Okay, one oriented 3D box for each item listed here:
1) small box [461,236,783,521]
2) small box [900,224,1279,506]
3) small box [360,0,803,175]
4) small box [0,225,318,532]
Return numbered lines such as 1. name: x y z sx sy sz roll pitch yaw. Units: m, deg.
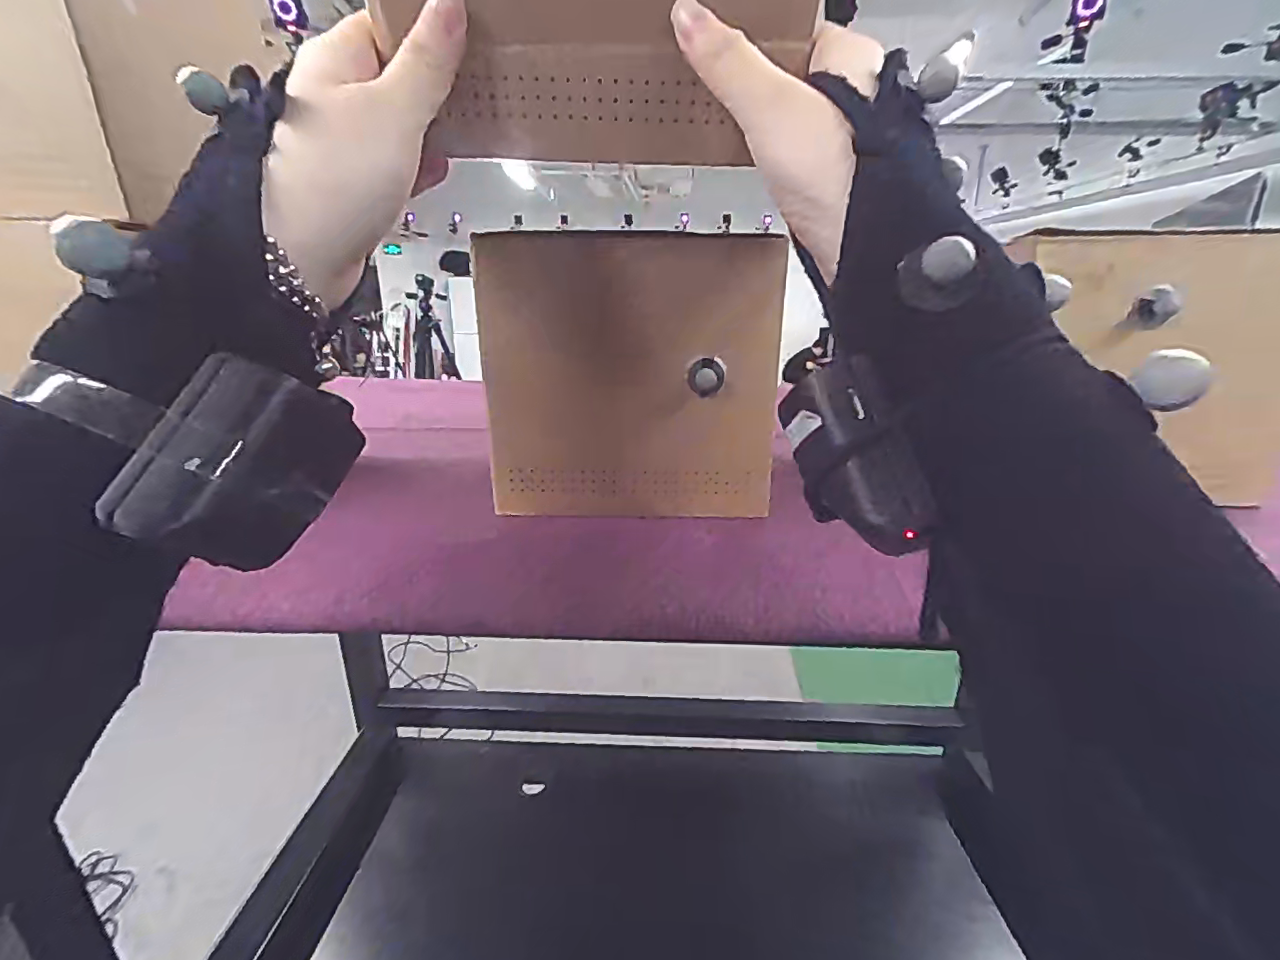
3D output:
1. small box: -0.009 -0.076 0.389 0.179 0.176 0.168 -1 19 0
2. small box: 0.314 -0.084 0.405 0.179 0.176 0.168 1 17 3
3. small box: -0.022 -0.250 0.240 0.179 0.176 0.168 1 45 -1
4. small box: -0.351 -0.073 0.366 0.168 0.176 0.179 1 20 -1
